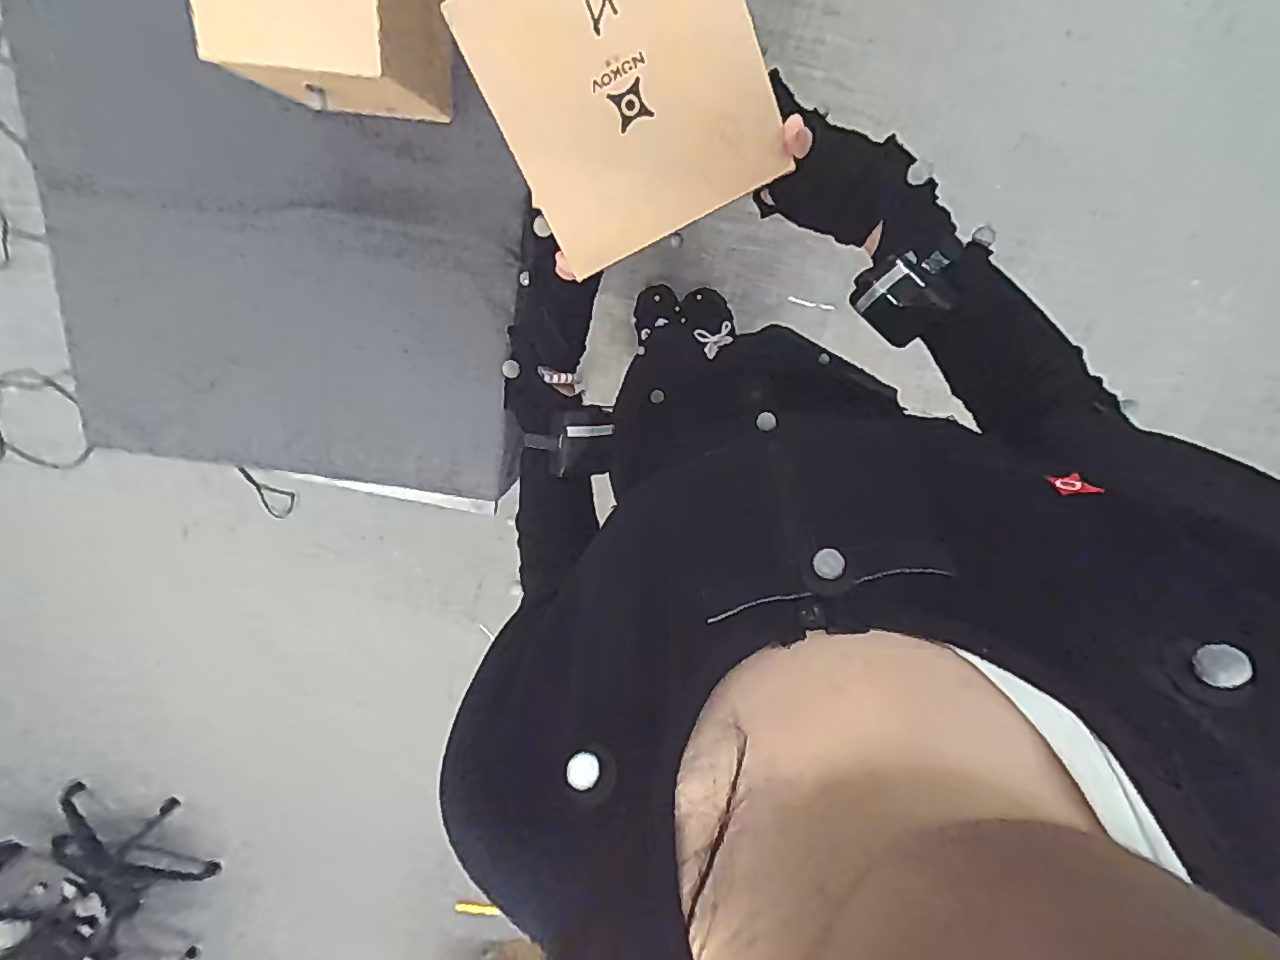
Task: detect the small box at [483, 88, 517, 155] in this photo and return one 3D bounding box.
[{"bbox_3d":[-0.228,-0.802,1.161,0.168,0.176,0.179,9,113,-1],"label":"small box"}]

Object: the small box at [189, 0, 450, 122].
[{"bbox_3d":[-0.292,-0.466,0.518,0.168,0.176,0.179,6,112,1],"label":"small box"}]

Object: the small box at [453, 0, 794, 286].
[{"bbox_3d":[-0.002,-0.274,0.409,0.168,0.176,0.179,-21,114,12],"label":"small box"}]
